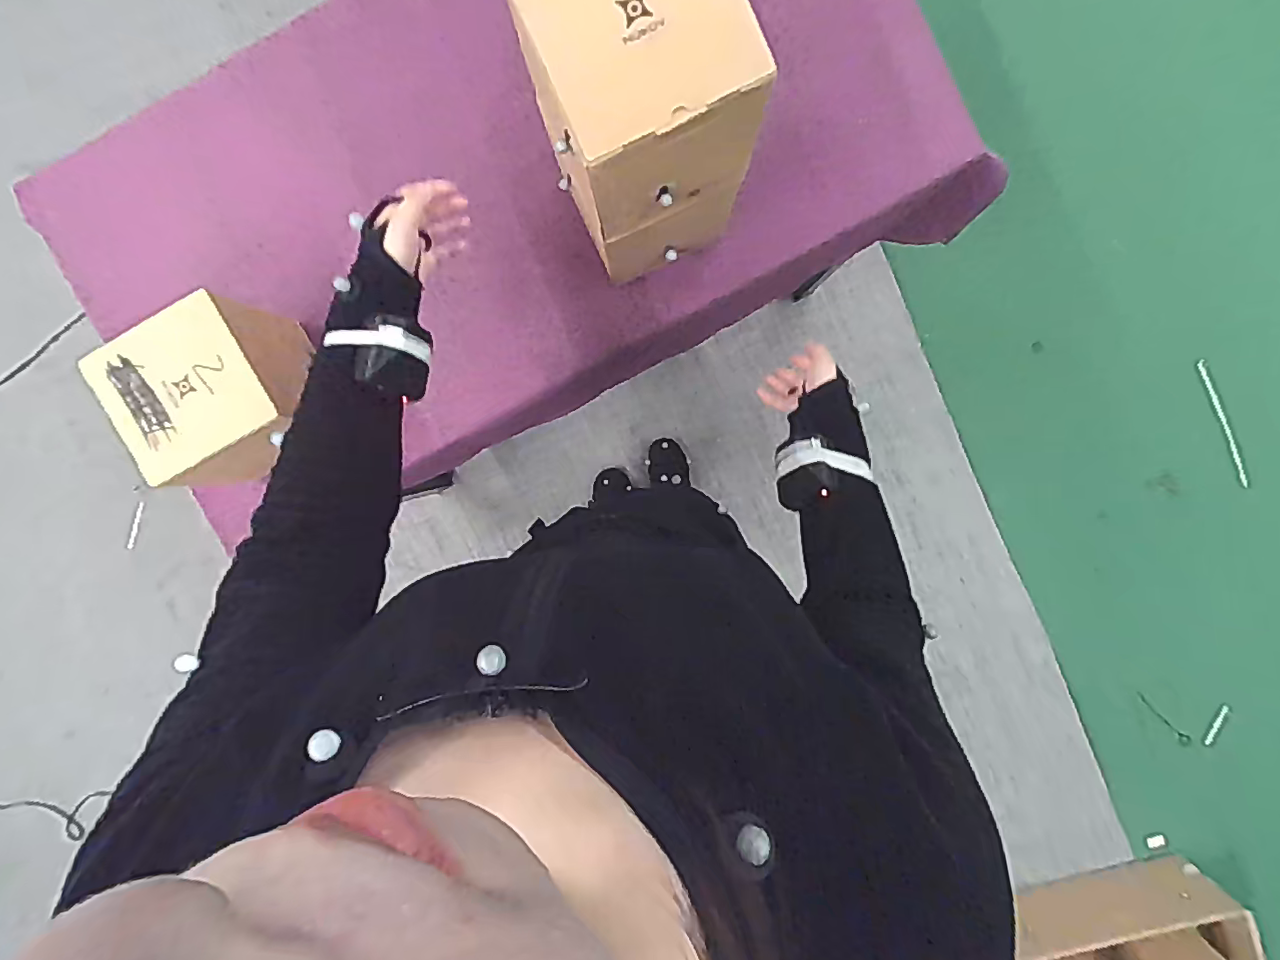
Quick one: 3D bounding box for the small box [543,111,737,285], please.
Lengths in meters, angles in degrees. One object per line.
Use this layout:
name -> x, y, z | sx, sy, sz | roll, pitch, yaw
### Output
small box -> -0.001, -0.370, 0.662 | 0.168, 0.176, 0.179 | -24, 93, 3

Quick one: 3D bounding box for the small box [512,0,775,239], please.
small box -> -0.002, -0.360, 0.499 | 0.168, 0.176, 0.179 | -24, 95, 2
